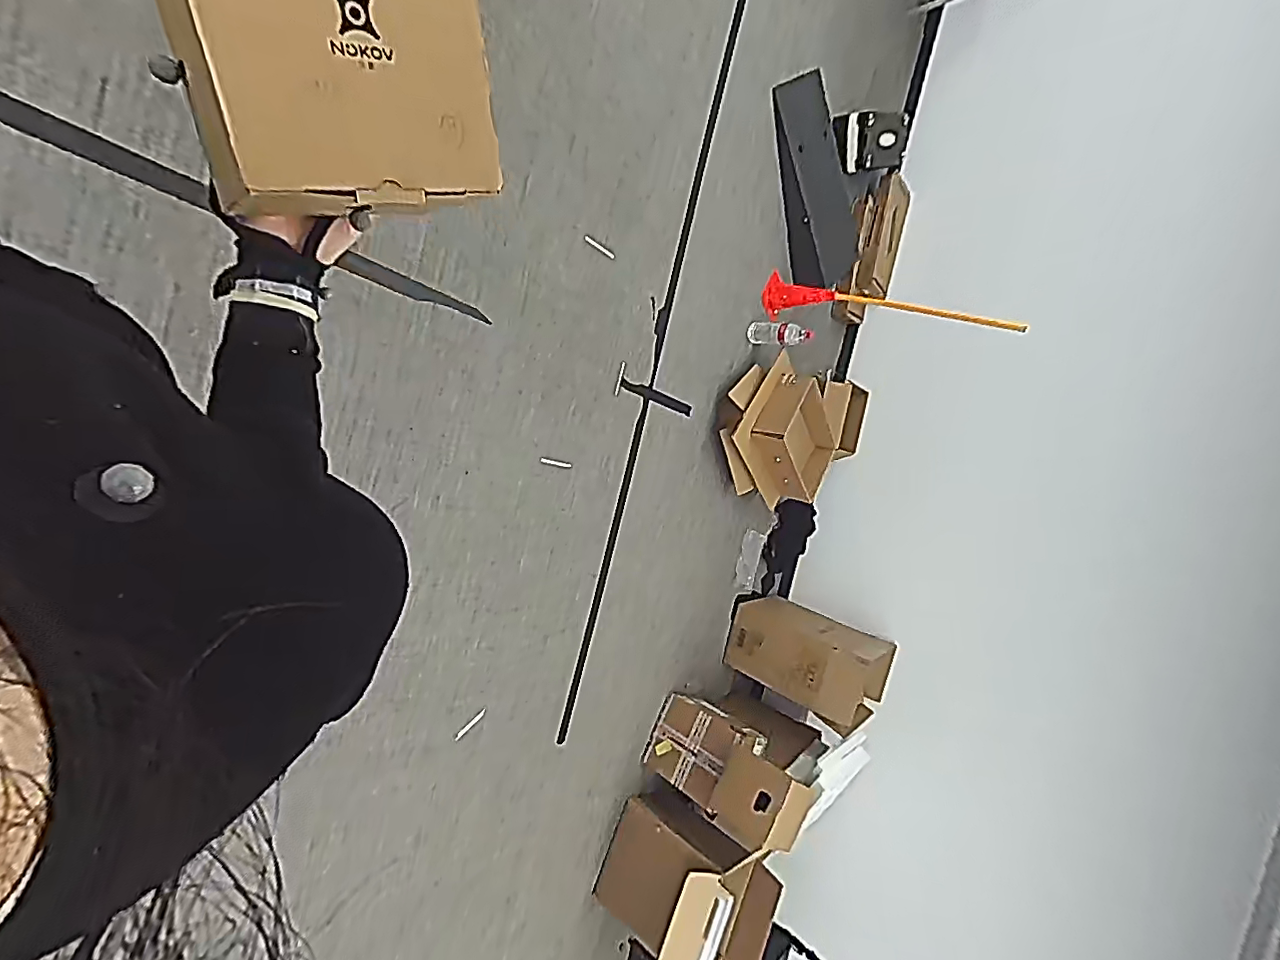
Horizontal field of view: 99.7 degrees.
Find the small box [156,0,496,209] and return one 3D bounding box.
[{"bbox_3d":[-0.225,-0.295,0.387,0.168,0.176,0.179,-21,120,-35],"label":"small box"}]
